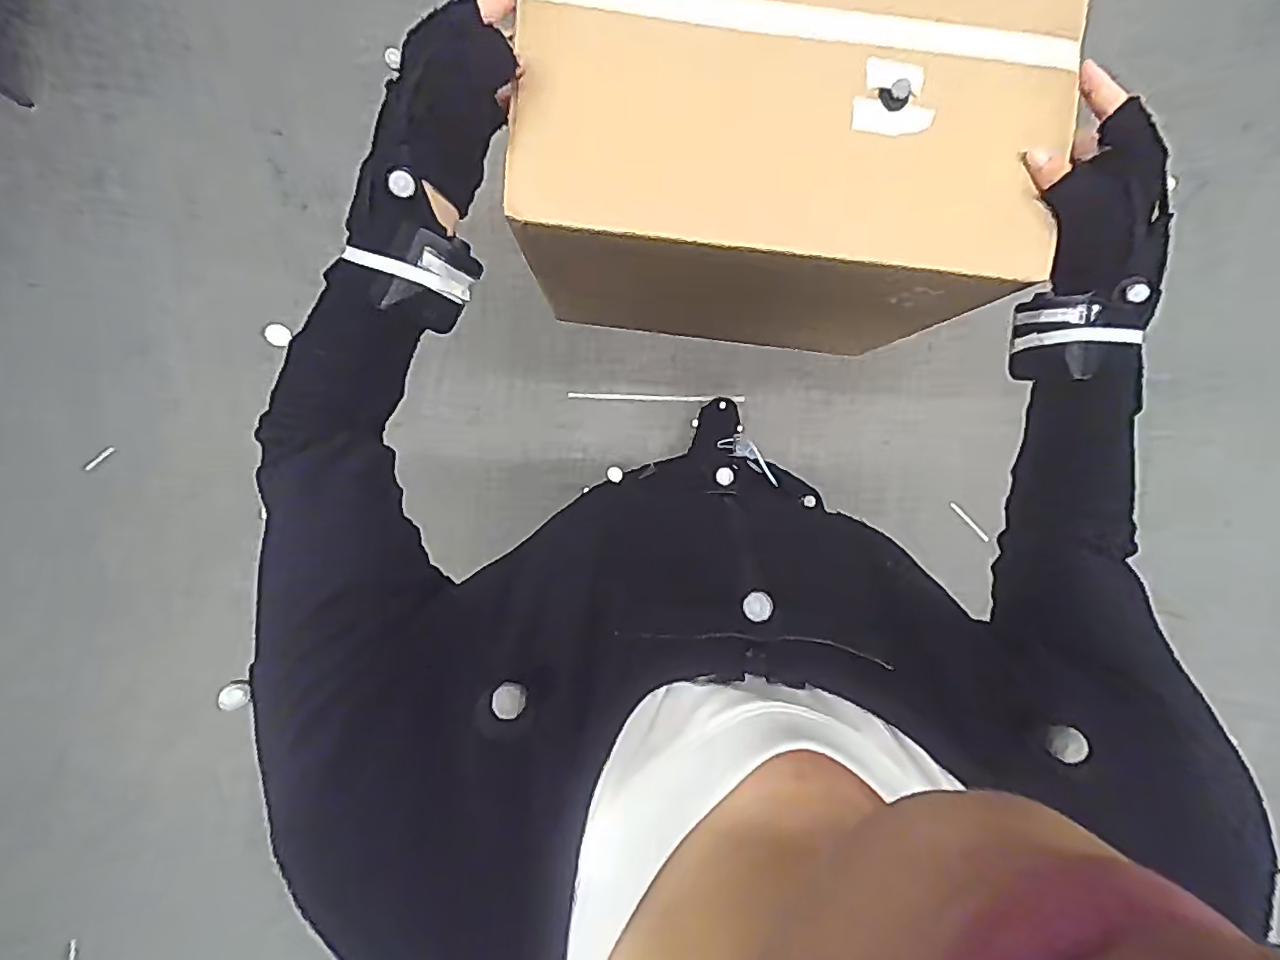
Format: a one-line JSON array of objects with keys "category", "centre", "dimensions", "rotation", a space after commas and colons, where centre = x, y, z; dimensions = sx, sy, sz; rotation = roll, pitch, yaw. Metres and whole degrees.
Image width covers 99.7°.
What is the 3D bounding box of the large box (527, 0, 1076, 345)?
[{"category": "large box", "centre": [0.115, -0.335, 0.547], "dimensions": [0.408, 0.320, 0.320], "rotation": [5, 93, -4]}]
